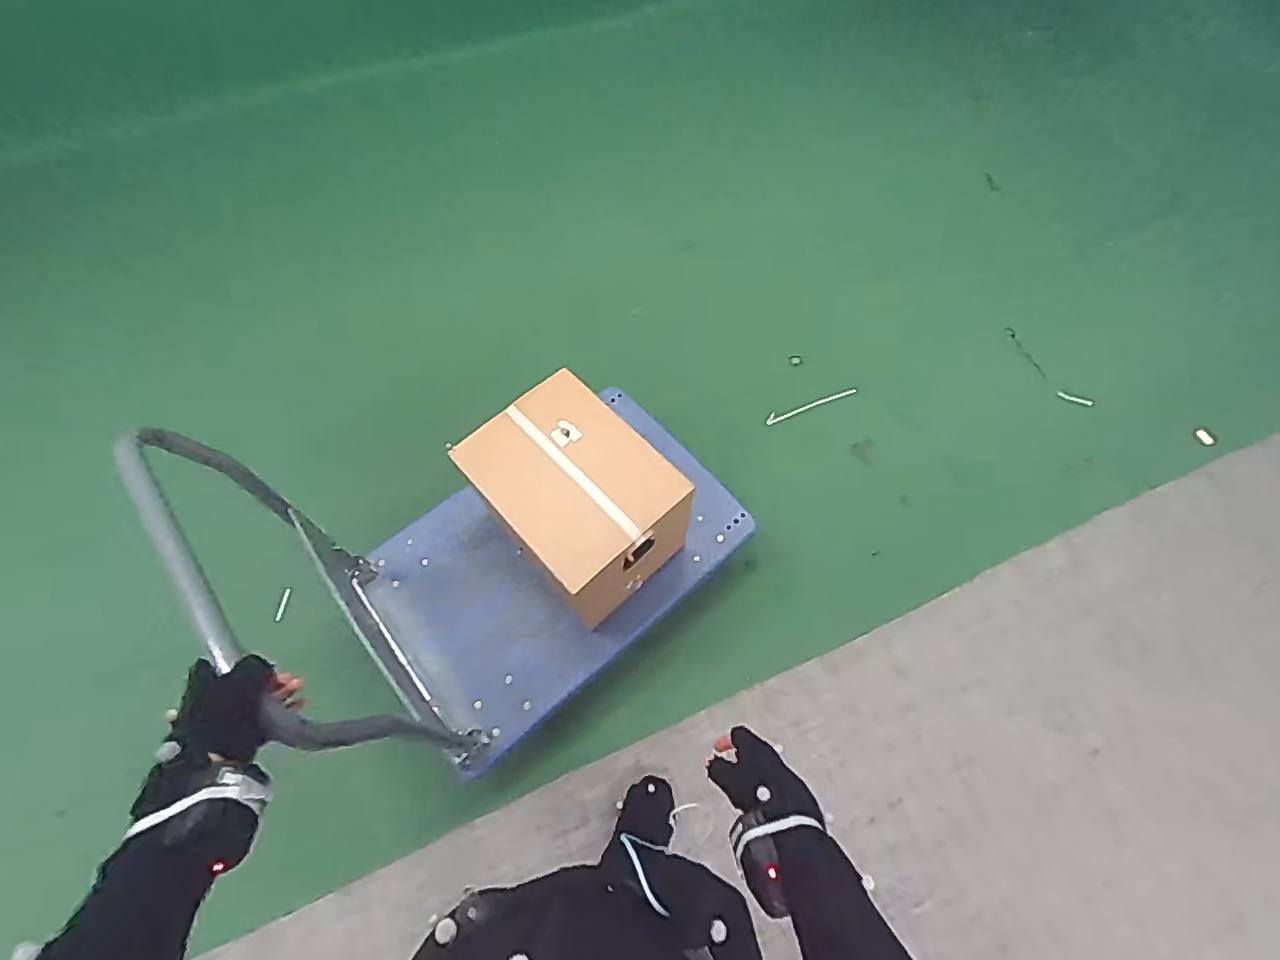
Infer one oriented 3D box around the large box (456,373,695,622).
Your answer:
[{"bbox_3d":[-0.127,0.047,1.214,0.320,0.320,0.408,-40,68,-18],"label":"large box"}]
